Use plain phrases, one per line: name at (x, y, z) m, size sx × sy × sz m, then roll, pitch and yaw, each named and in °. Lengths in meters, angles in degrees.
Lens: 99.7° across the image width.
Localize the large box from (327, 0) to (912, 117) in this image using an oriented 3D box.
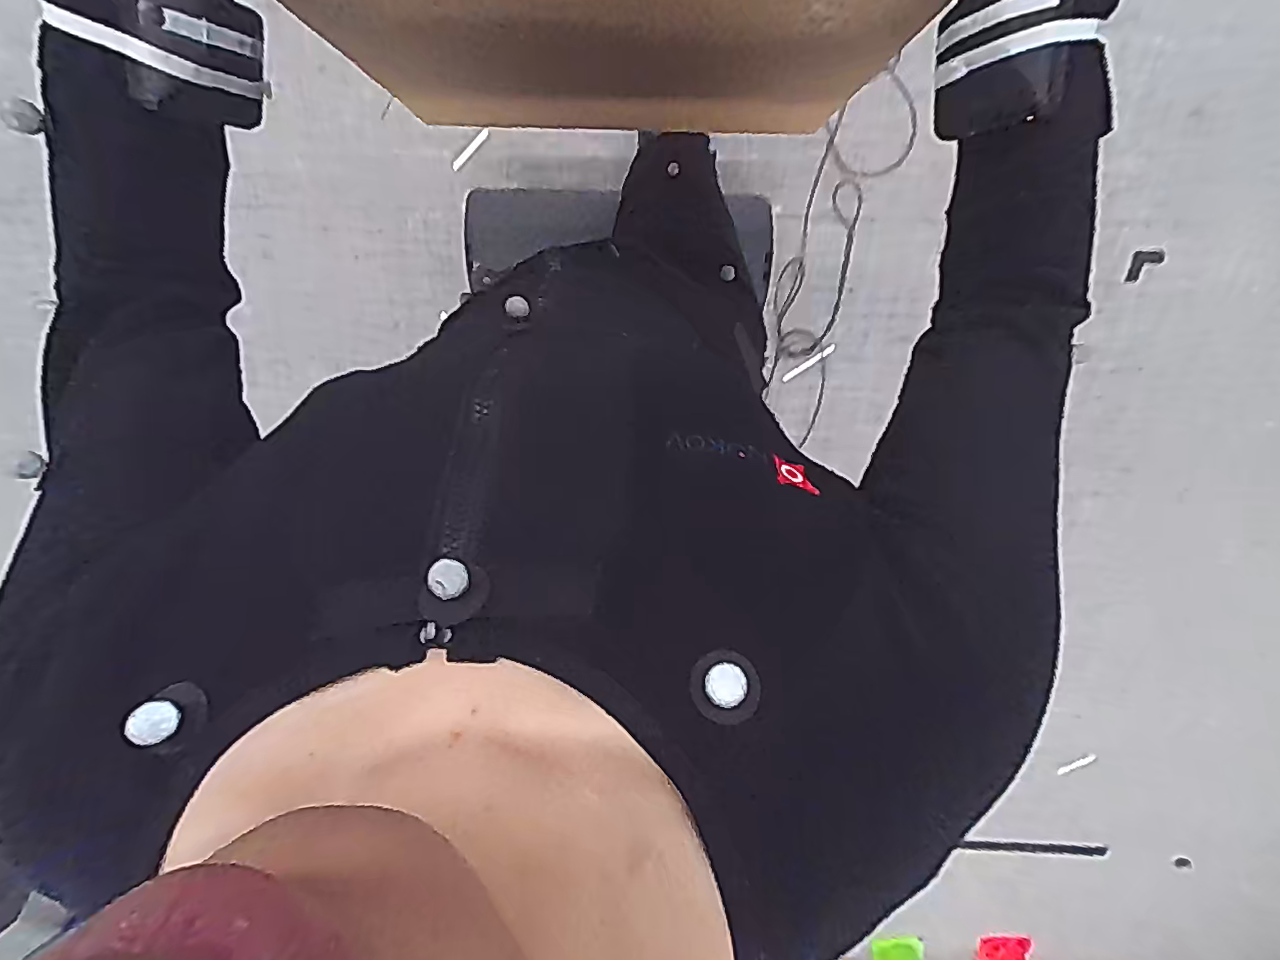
large box at (-0.015, -0.478, 0.372) m, size 0.408 × 0.320 × 0.320 m, roll 0°, pitch 108°, yaw -1°
